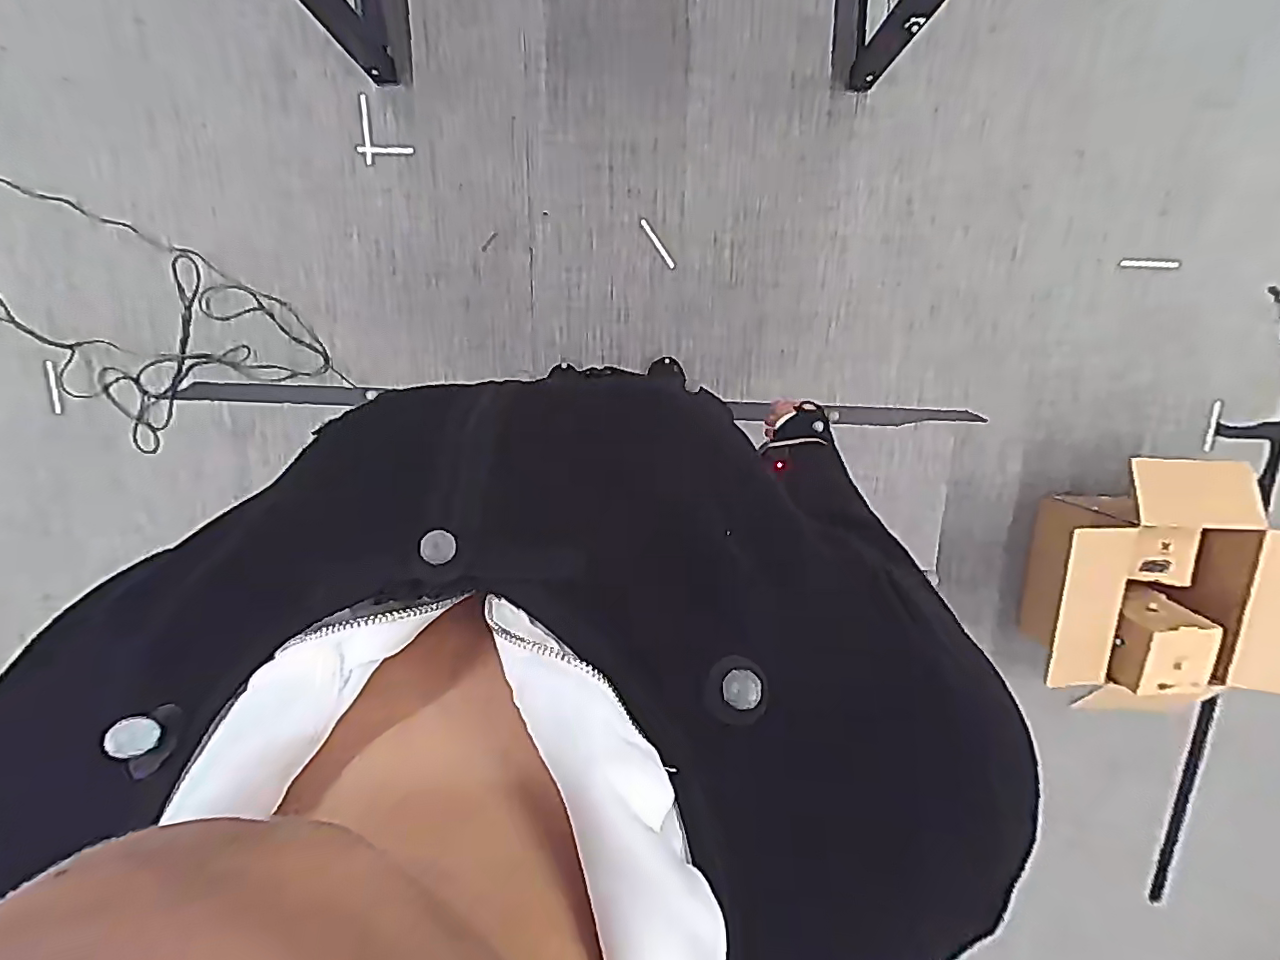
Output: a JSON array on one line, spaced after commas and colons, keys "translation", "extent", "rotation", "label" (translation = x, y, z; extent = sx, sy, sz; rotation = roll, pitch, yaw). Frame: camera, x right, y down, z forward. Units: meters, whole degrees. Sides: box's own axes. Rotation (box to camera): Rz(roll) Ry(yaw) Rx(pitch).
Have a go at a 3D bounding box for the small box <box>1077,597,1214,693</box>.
[{"translation": [1.235, 0.398, 1.336], "extent": [0.168, 0.176, 0.179], "rotation": [-2, 106, -2], "label": "small box"}]
